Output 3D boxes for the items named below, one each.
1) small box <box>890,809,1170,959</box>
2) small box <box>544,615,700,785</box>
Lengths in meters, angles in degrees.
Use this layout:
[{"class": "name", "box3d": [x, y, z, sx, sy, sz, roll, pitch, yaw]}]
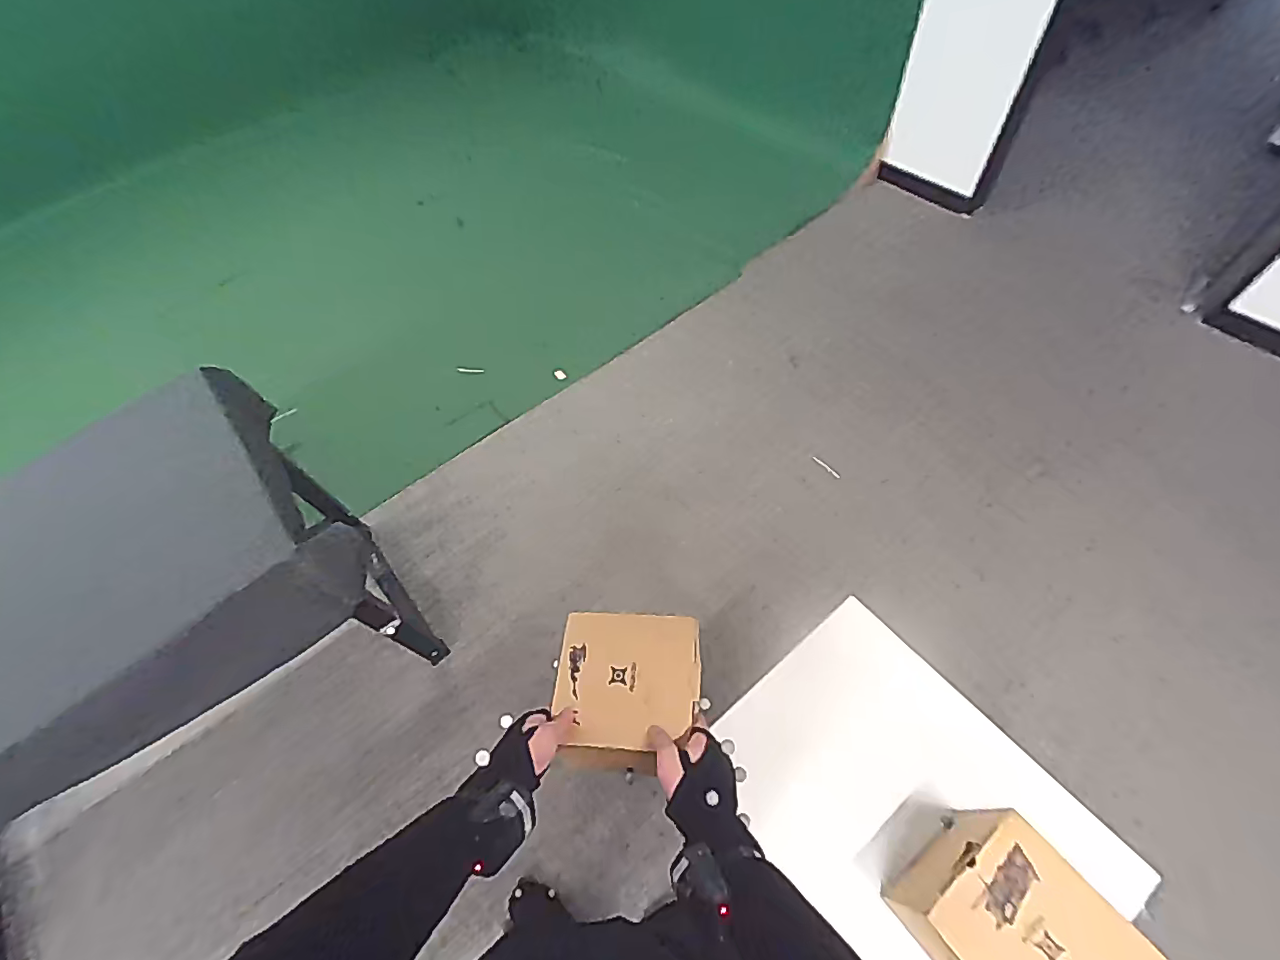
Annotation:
[{"class": "small box", "box3d": [0.432, 0.526, 0.633, 0.168, 0.176, 0.179, -35, 62, -18]}, {"class": "small box", "box3d": [-0.013, 0.293, 0.713, 0.179, 0.176, 0.168, 2, 52, 5]}]
